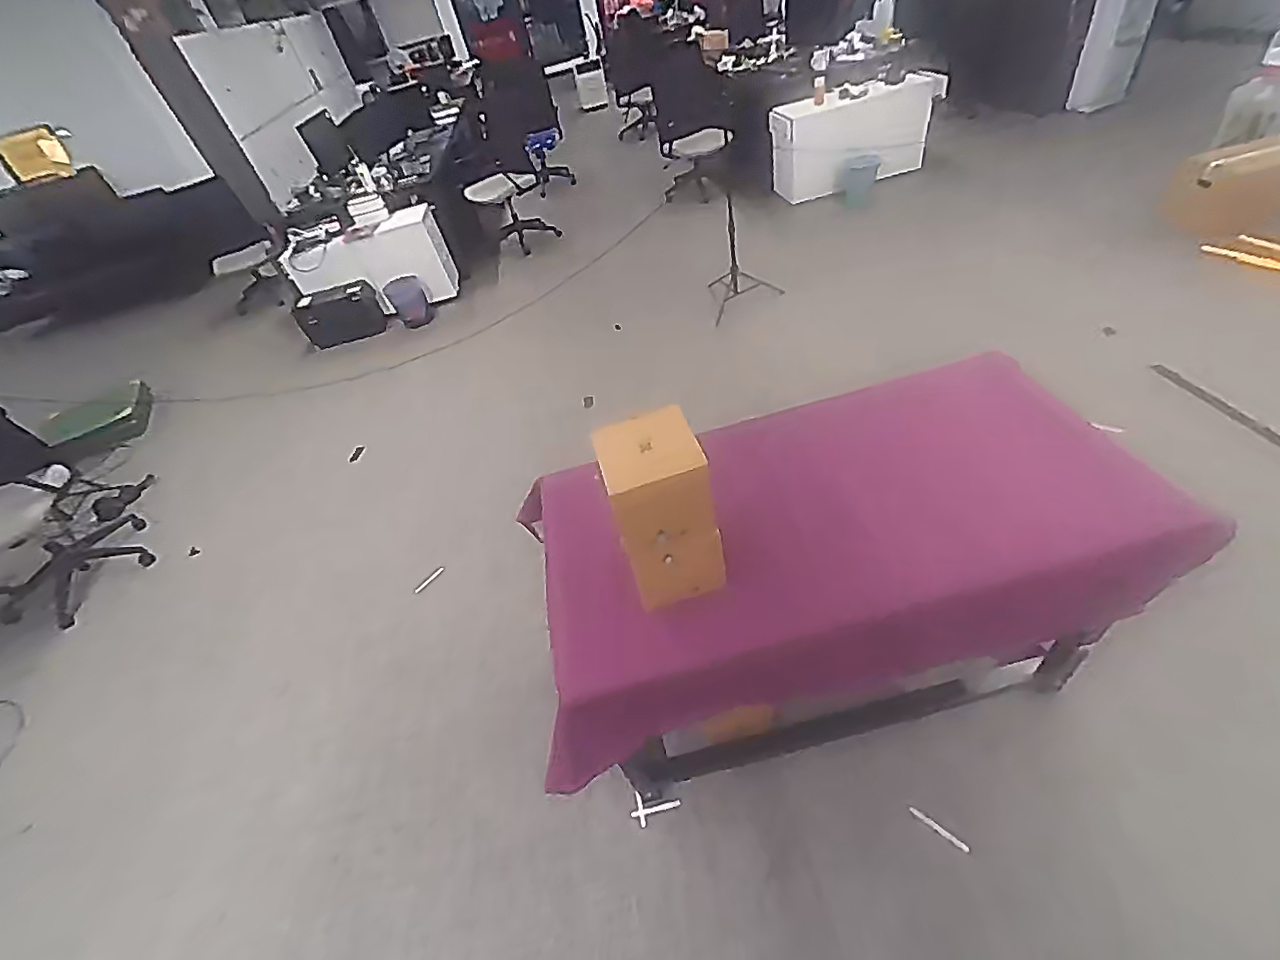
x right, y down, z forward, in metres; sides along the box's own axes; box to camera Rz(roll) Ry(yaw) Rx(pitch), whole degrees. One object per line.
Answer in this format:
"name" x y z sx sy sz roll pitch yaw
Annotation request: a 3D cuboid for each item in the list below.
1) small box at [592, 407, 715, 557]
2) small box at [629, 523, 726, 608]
"small box" 0.024 0.004 0.950 0.168 0.176 0.179 -18 44 -2
"small box" 0.061 0.118 1.061 0.168 0.176 0.179 -17 43 -1
